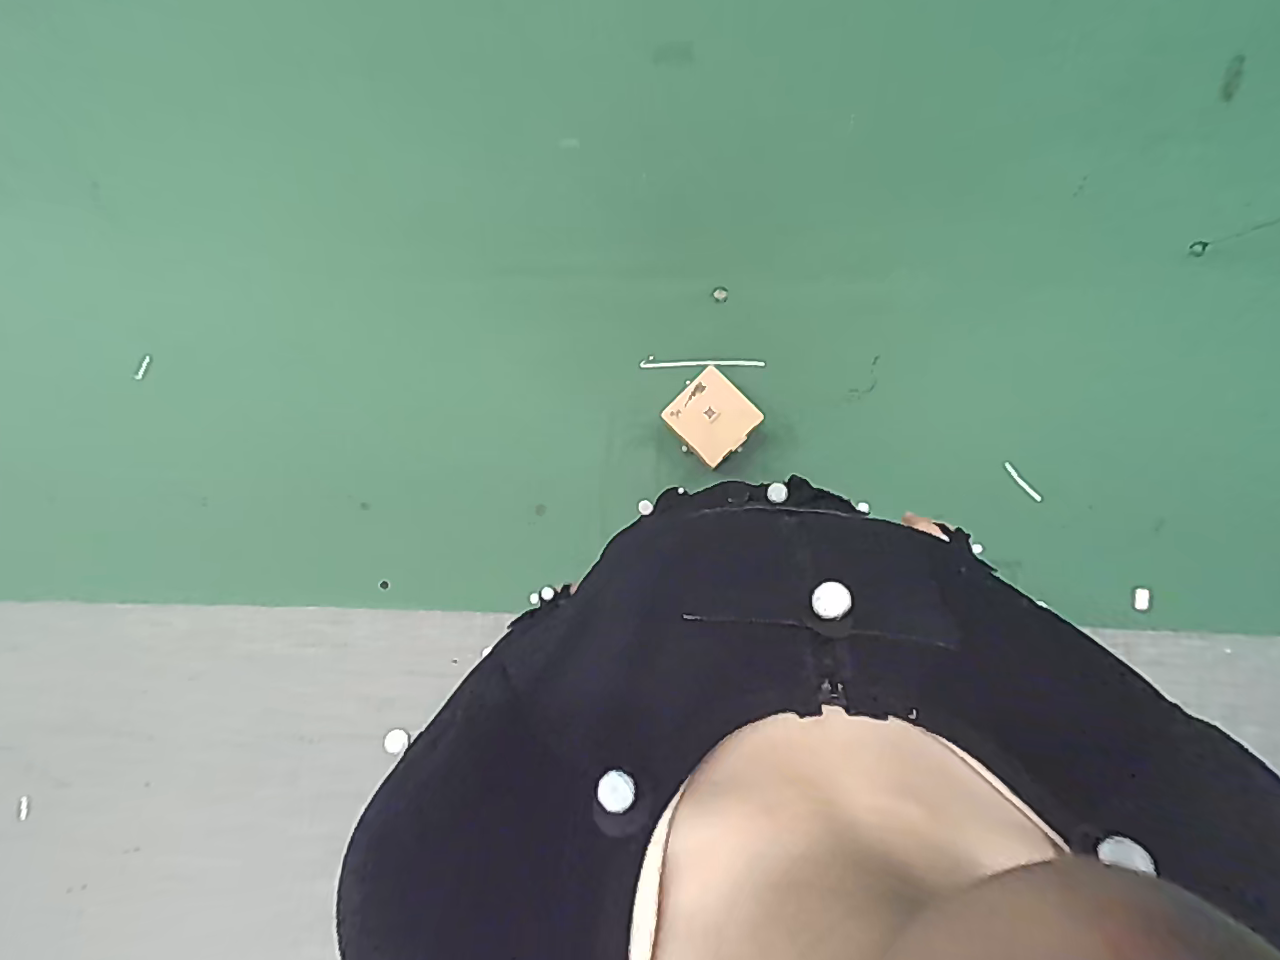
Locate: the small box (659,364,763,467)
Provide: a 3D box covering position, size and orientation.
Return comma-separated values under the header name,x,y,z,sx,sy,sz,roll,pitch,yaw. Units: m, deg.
name,x,y,z,sx,sy,sz,roll,pitch,yaw
small box,0.167,-0.148,1.293,0.168,0.176,0.179,-45,86,4
